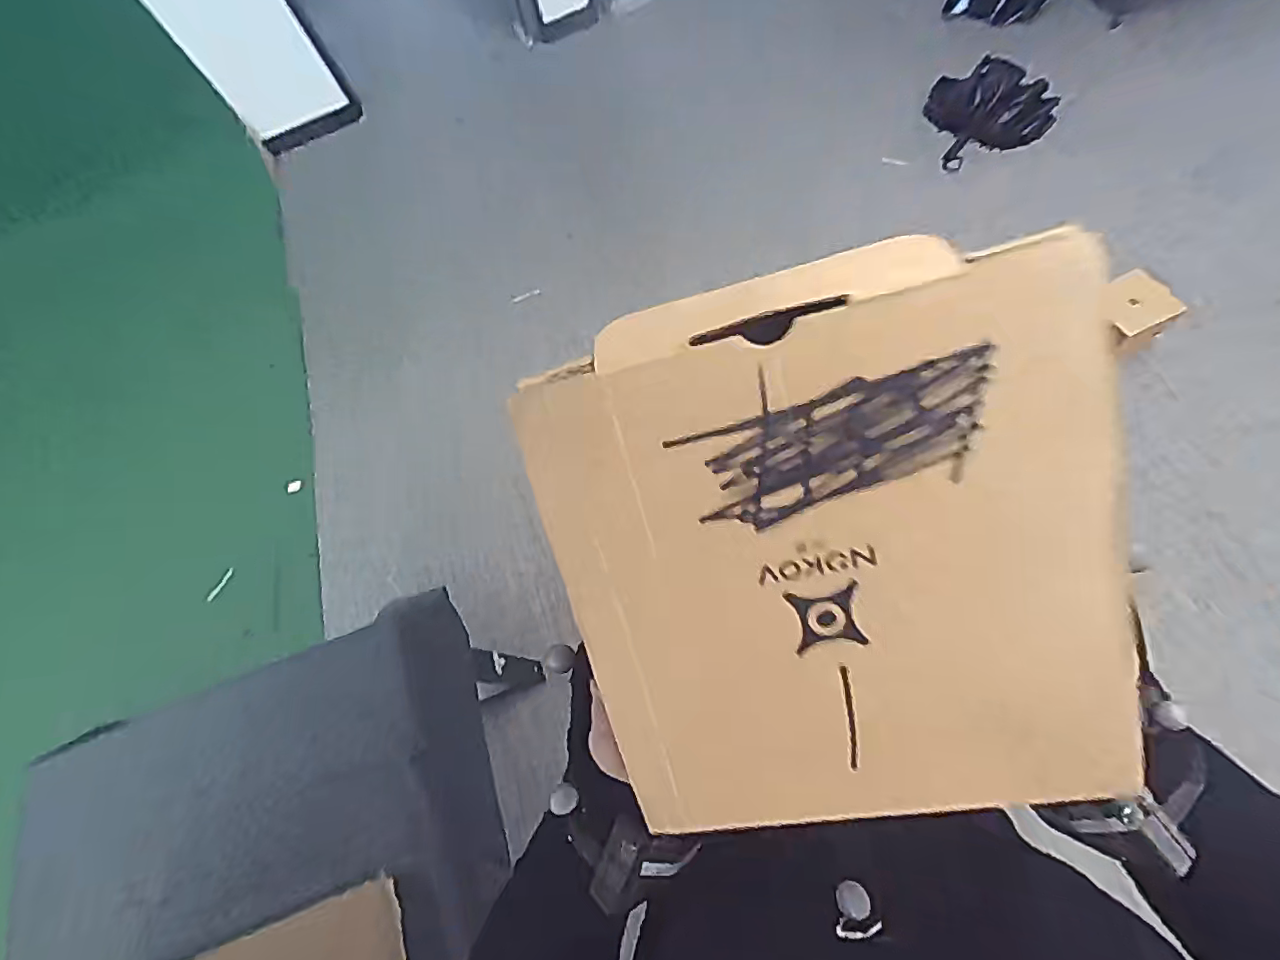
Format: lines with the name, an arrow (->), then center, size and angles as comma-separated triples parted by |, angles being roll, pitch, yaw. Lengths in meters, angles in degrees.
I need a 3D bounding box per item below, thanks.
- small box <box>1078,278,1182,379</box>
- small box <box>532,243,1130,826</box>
small box -> 1.314, -0.418, 1.505 | 0.179, 0.176, 0.168 | -26, 64, 0
small box -> 0.073, 0.017, 0.254 | 0.168, 0.176, 0.179 | -12, 100, 12
